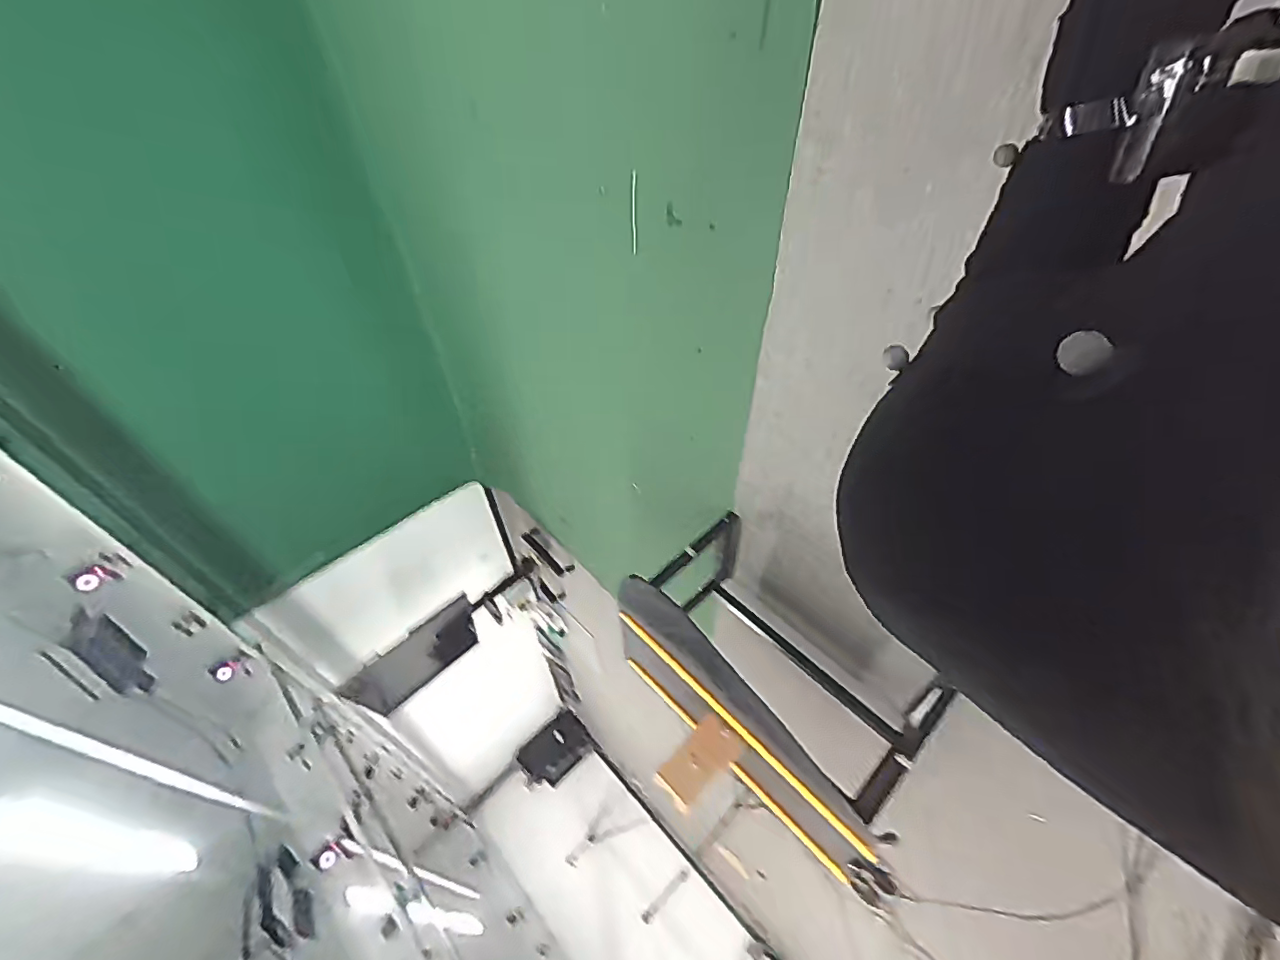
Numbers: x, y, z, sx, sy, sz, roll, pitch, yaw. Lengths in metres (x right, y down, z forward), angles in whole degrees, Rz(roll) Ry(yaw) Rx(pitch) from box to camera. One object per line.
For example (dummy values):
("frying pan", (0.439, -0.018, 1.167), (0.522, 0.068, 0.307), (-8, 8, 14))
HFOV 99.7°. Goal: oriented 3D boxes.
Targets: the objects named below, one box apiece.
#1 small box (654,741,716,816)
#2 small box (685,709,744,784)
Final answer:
("small box", (0.170, 1.131, 2.050), (0.168, 0.176, 0.179), (38, 149, 27))
("small box", (0.290, 1.042, 2.119), (0.168, 0.176, 0.179), (36, 147, 30))
